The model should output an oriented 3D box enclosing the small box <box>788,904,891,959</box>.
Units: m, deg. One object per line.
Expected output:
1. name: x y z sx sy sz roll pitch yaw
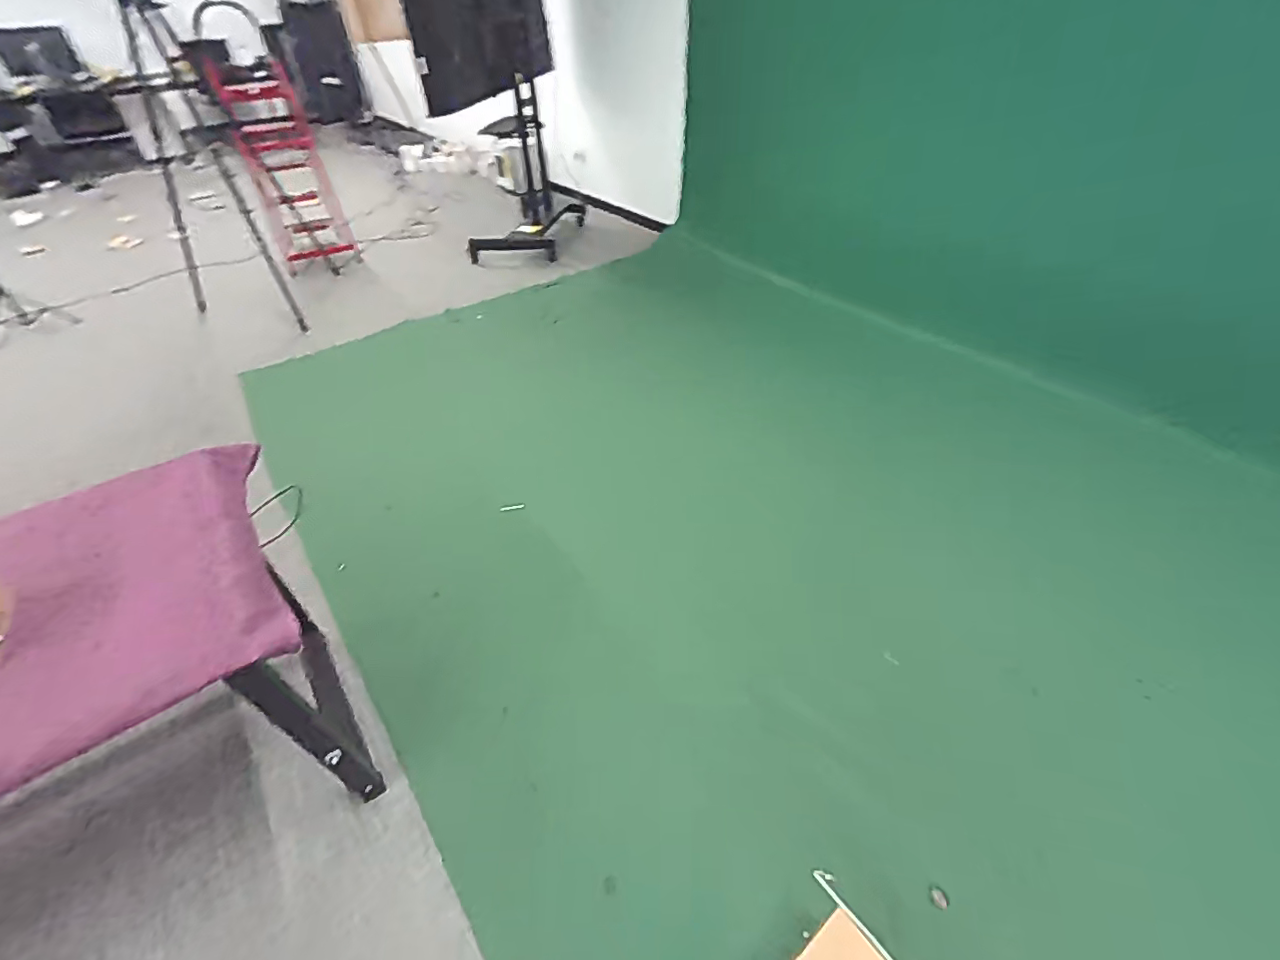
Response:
1. small box: 0.375 0.956 1.016 0.179 0.176 0.168 -29 49 -26
